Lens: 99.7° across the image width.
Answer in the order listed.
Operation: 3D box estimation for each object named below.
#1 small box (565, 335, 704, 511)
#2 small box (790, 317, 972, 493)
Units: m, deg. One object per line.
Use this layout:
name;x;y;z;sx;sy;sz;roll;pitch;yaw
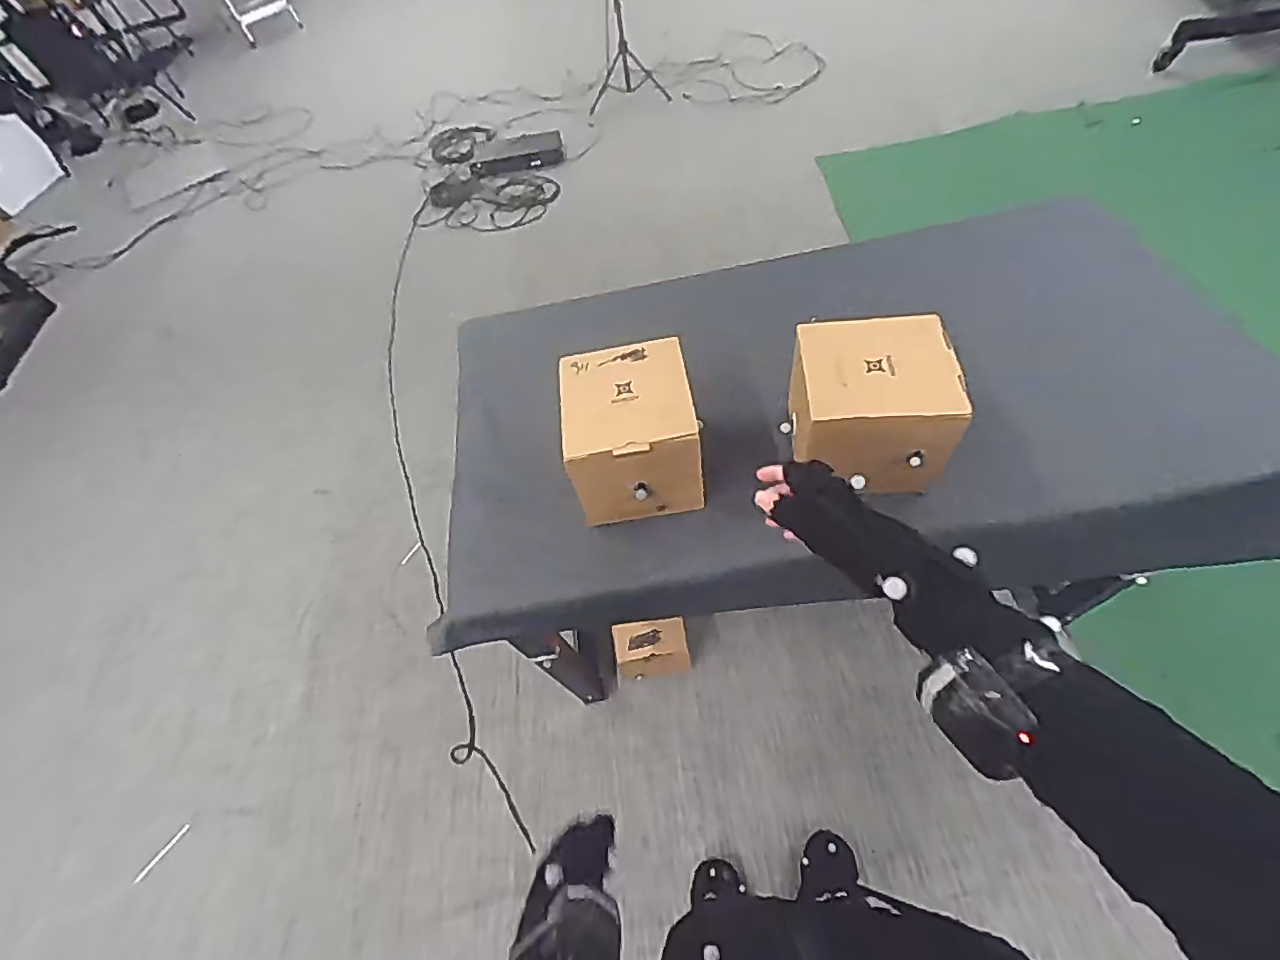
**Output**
small box;-0.004;-0.069;0.753;0.168;0.176;0.179;-8;57;3
small box;0.302;-0.093;0.722;0.179;0.176;0.168;-2;57;9
